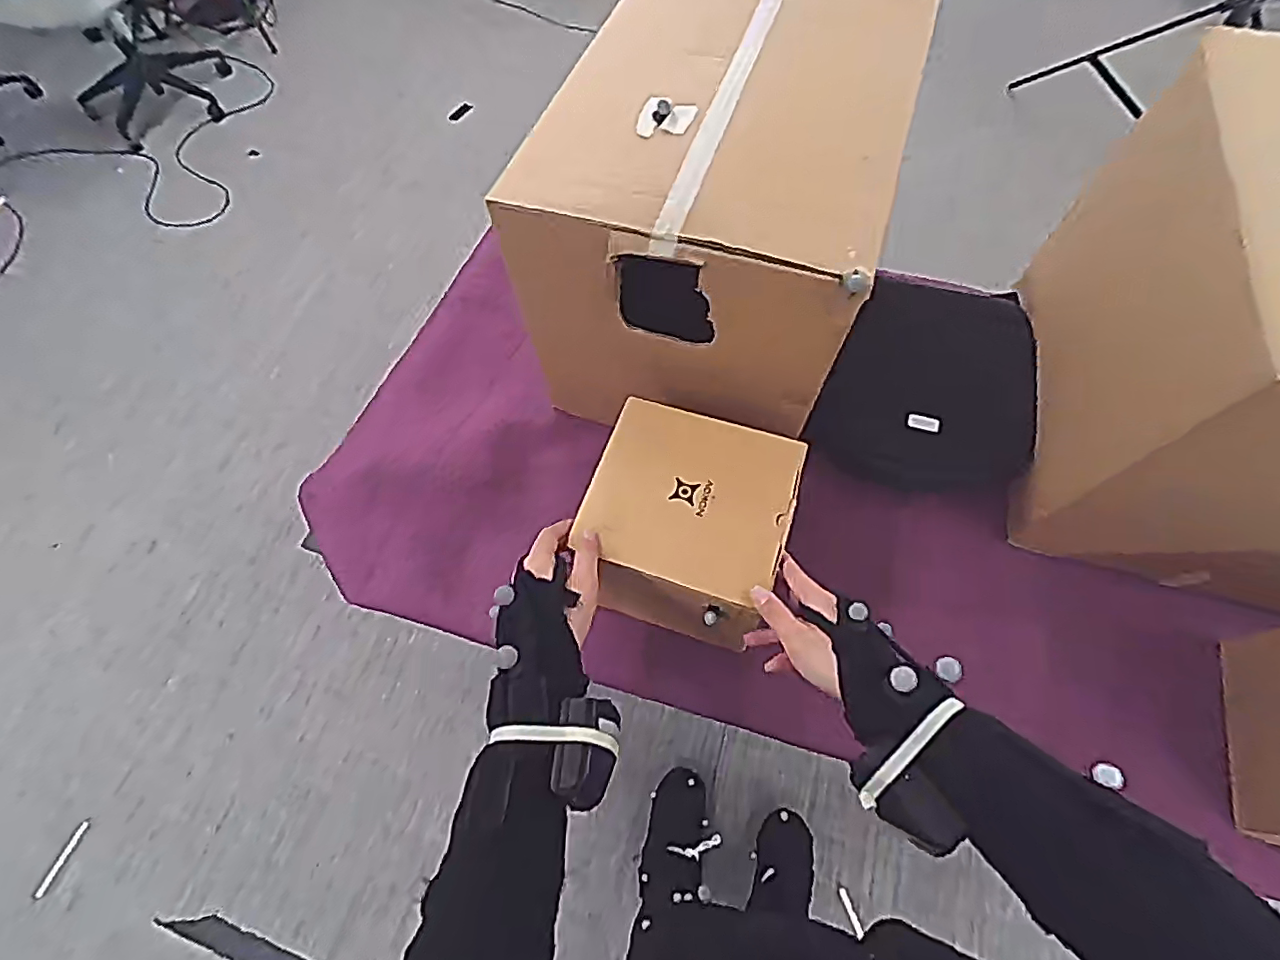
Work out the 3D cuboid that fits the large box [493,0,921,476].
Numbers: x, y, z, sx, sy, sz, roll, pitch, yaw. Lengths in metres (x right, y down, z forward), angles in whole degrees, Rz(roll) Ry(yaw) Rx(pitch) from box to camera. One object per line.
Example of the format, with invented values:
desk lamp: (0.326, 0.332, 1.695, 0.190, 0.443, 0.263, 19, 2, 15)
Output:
large box: (0.086, -0.275, 0.635, 0.320, 0.320, 0.408, 16, 68, 11)
